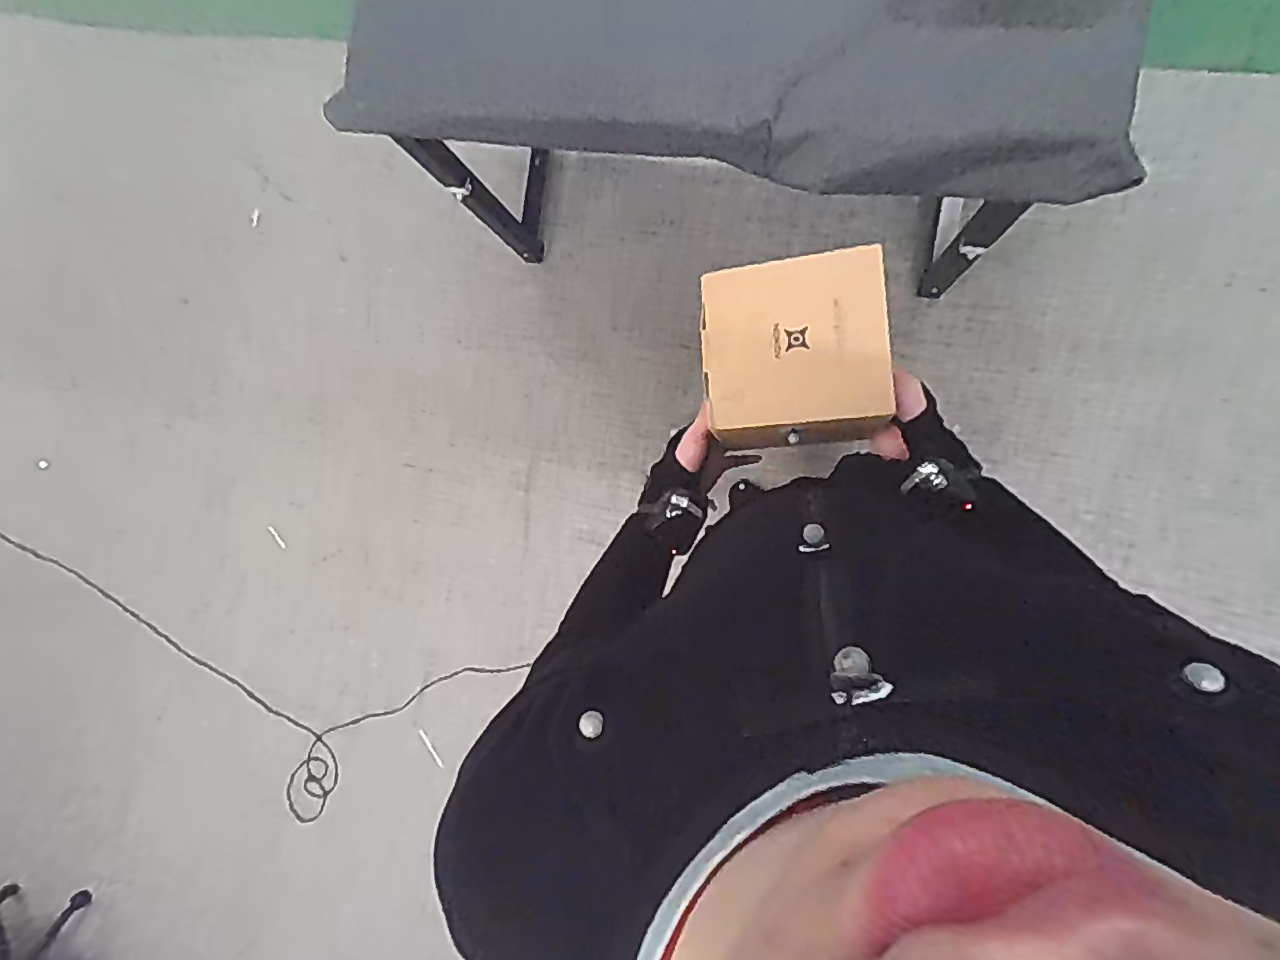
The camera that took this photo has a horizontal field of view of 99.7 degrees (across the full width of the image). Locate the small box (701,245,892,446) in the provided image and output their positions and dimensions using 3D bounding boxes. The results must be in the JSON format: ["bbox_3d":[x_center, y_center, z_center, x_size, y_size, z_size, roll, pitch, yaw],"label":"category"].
[{"bbox_3d":[0.170,-0.133,0.607,0.179,0.176,0.168,-3,86,15],"label":"small box"}]
